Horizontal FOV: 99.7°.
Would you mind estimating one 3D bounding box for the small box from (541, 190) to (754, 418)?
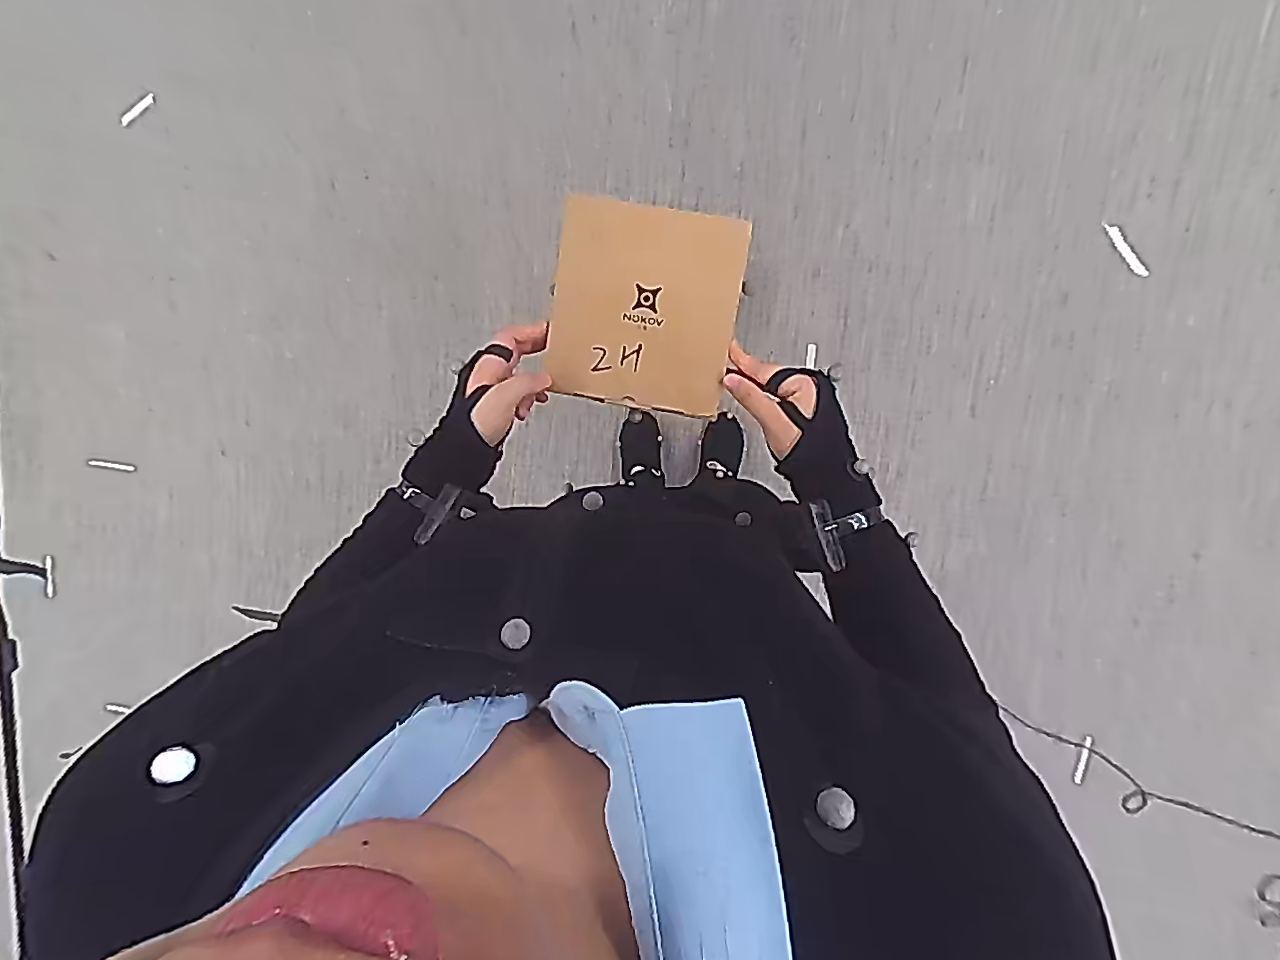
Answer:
[{"bbox_3d":[0.010,-0.164,0.556,0.168,0.176,0.179,10,97,3],"label":"small box"}]
